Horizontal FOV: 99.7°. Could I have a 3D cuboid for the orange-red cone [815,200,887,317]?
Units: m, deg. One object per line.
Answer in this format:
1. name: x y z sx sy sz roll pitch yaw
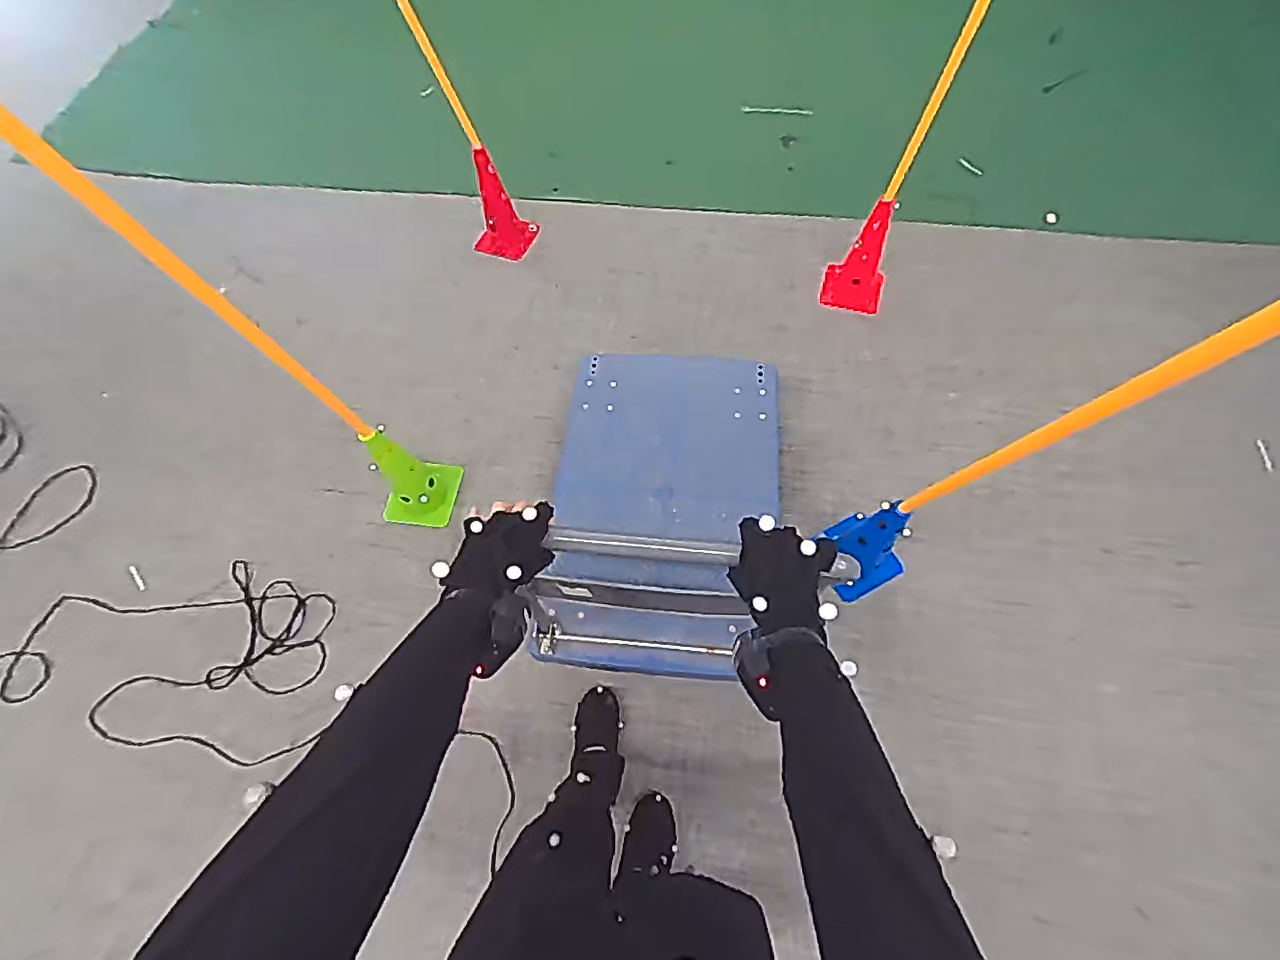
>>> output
1. orange-red cone: 0.719 -0.732 1.743 0.198 0.360 0.199 16 66 11
